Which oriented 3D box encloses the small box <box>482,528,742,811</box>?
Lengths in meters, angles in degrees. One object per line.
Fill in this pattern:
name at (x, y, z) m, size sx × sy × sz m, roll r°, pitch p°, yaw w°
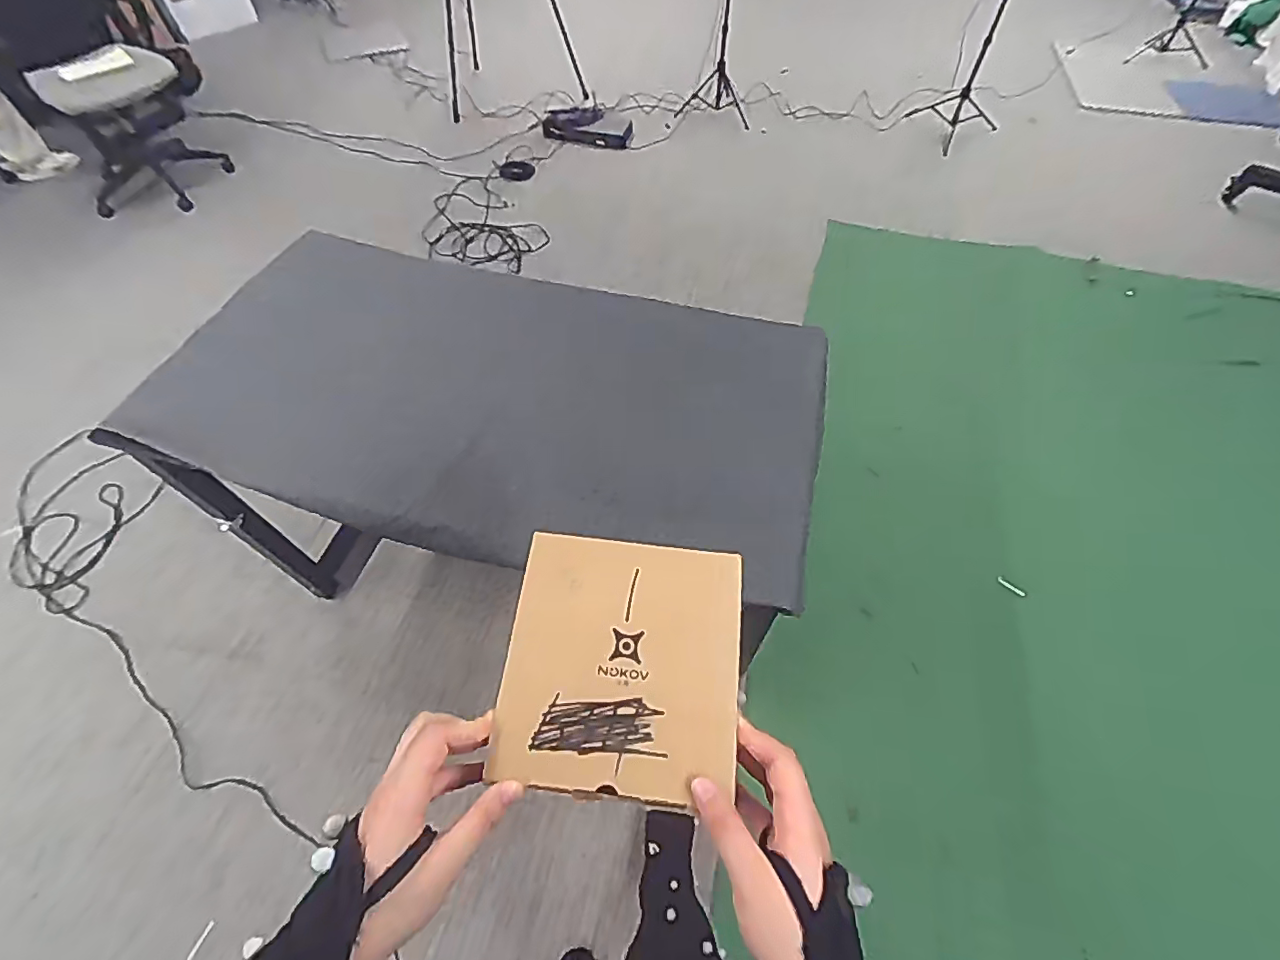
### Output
small box at (-0.014, 0.160, 0.455) m, size 0.168 × 0.176 × 0.179 m, roll 7°, pitch 63°, yaw 2°
